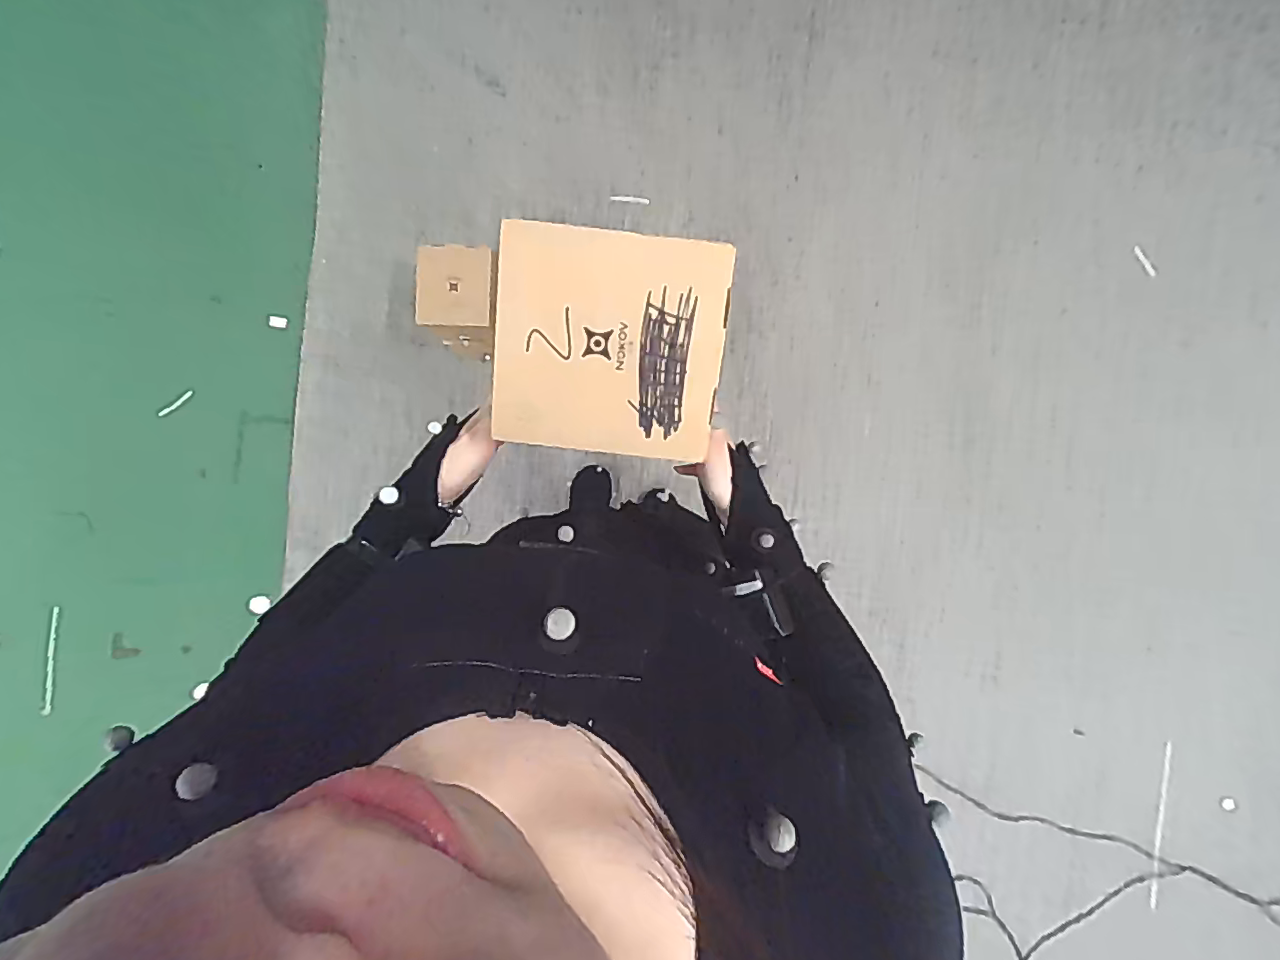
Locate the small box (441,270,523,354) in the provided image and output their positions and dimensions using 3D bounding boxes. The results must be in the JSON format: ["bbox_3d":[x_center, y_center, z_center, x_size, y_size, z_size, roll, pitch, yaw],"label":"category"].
[{"bbox_3d":[-0.405,-0.434,1.406,0.168,0.176,0.179,1,92,0],"label":"small box"}]

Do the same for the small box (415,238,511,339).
[{"bbox_3d":[-0.400,-0.435,1.244,0.168,0.176,0.179,2,92,2],"label":"small box"}]

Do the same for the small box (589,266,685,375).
[{"bbox_3d":[-0.004,-0.355,1.241,0.168,0.176,0.179,19,93,0],"label":"small box"}]

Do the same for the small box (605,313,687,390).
[{"bbox_3d":[0.014,-0.346,1.404,0.168,0.176,0.179,15,92,1],"label":"small box"}]
